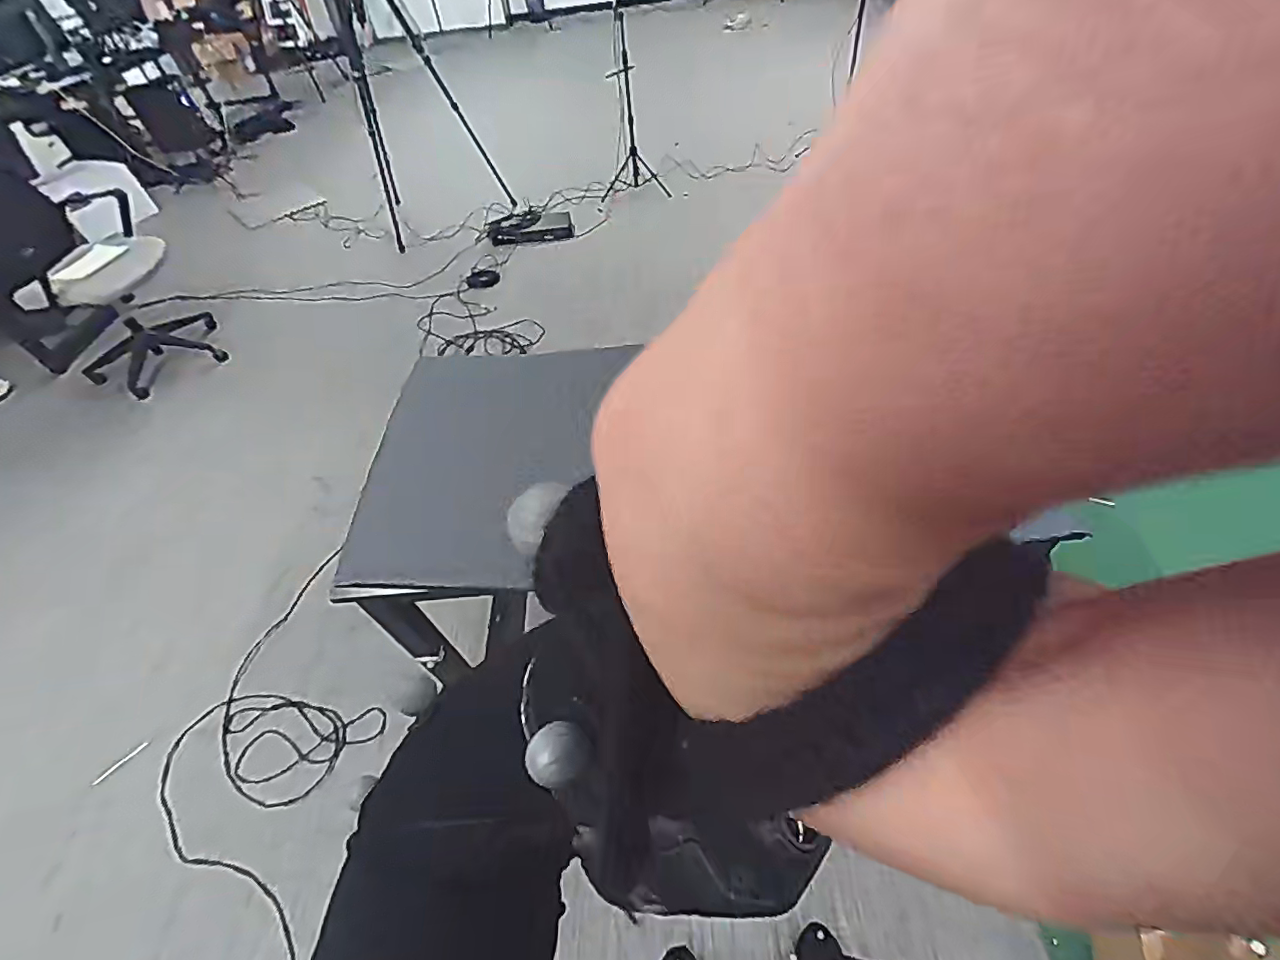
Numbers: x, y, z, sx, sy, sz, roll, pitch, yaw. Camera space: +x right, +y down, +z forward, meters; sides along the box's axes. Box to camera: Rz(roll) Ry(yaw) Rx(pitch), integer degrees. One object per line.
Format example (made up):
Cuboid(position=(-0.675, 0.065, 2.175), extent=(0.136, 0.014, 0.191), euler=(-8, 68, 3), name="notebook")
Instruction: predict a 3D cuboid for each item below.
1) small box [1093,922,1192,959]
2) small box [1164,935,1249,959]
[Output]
Cuboid(position=(0.941, 0.906, 0.946), extent=(0.179, 0.176, 0.168), euler=(8, 52, 13), name="small box")
Cuboid(position=(0.920, 0.827, 0.803), extent=(0.179, 0.176, 0.168), euler=(26, 59, 25), name="small box")
